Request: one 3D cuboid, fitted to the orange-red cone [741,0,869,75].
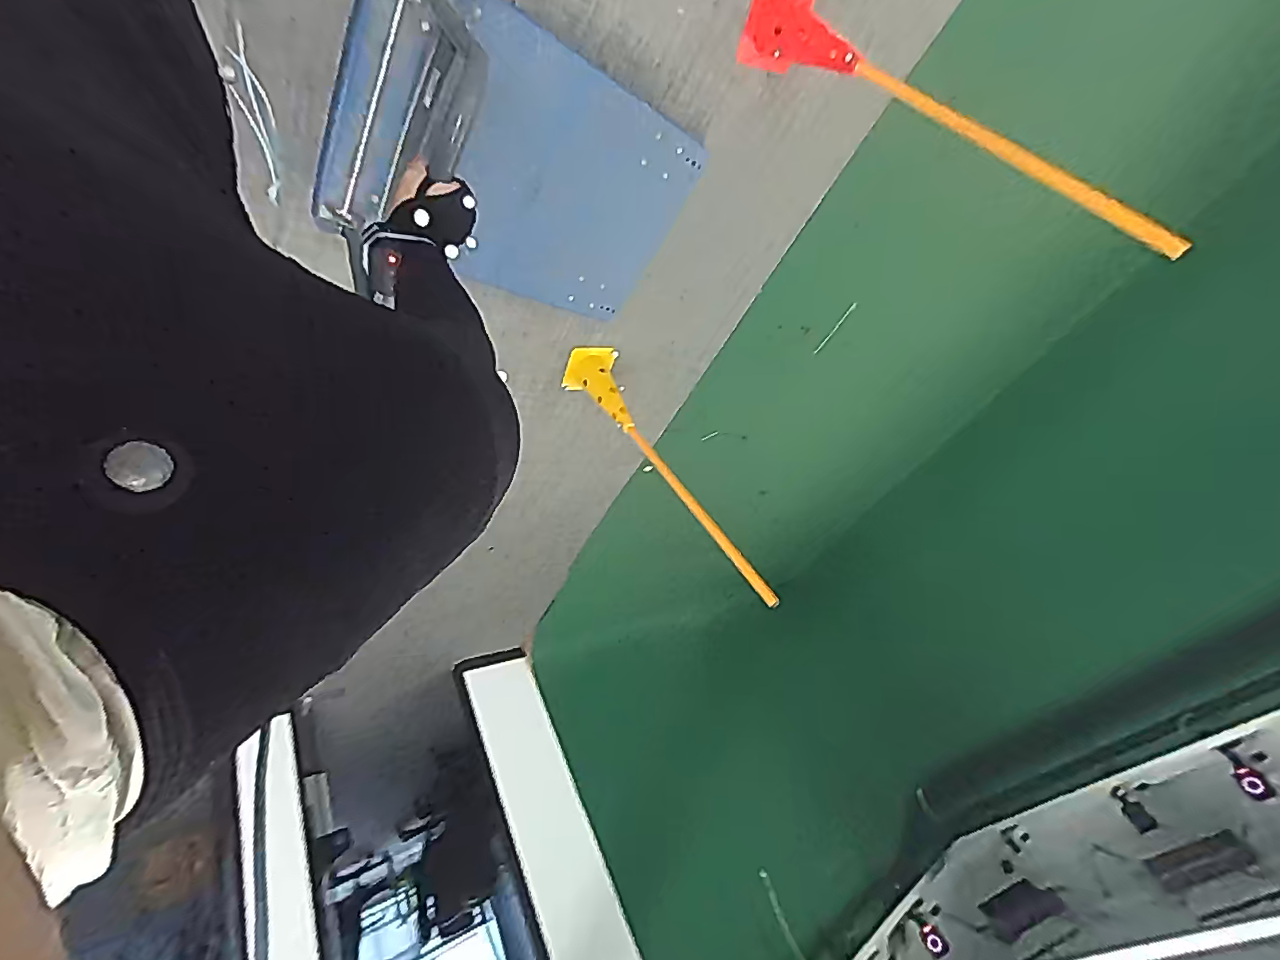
[{"bbox_3d":[0.458,-1.124,1.395,0.198,0.360,0.199,-11,142,-30],"label":"orange-red cone"}]
